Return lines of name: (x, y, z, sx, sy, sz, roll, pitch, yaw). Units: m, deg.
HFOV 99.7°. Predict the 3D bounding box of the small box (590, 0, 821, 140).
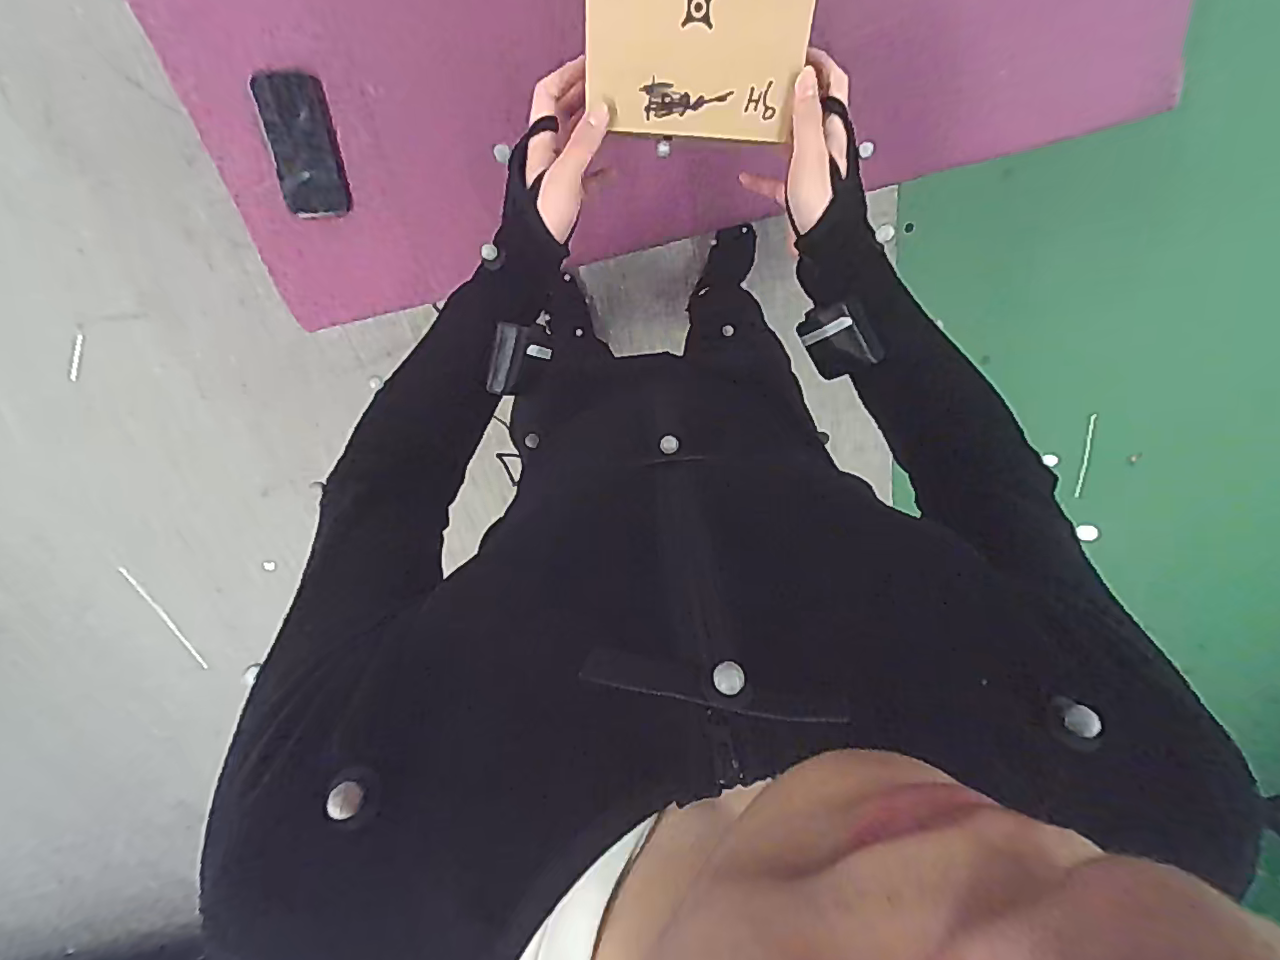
small box: (0.047, -0.392, 0.446, 0.168, 0.176, 0.179, 3, 122, -2)
